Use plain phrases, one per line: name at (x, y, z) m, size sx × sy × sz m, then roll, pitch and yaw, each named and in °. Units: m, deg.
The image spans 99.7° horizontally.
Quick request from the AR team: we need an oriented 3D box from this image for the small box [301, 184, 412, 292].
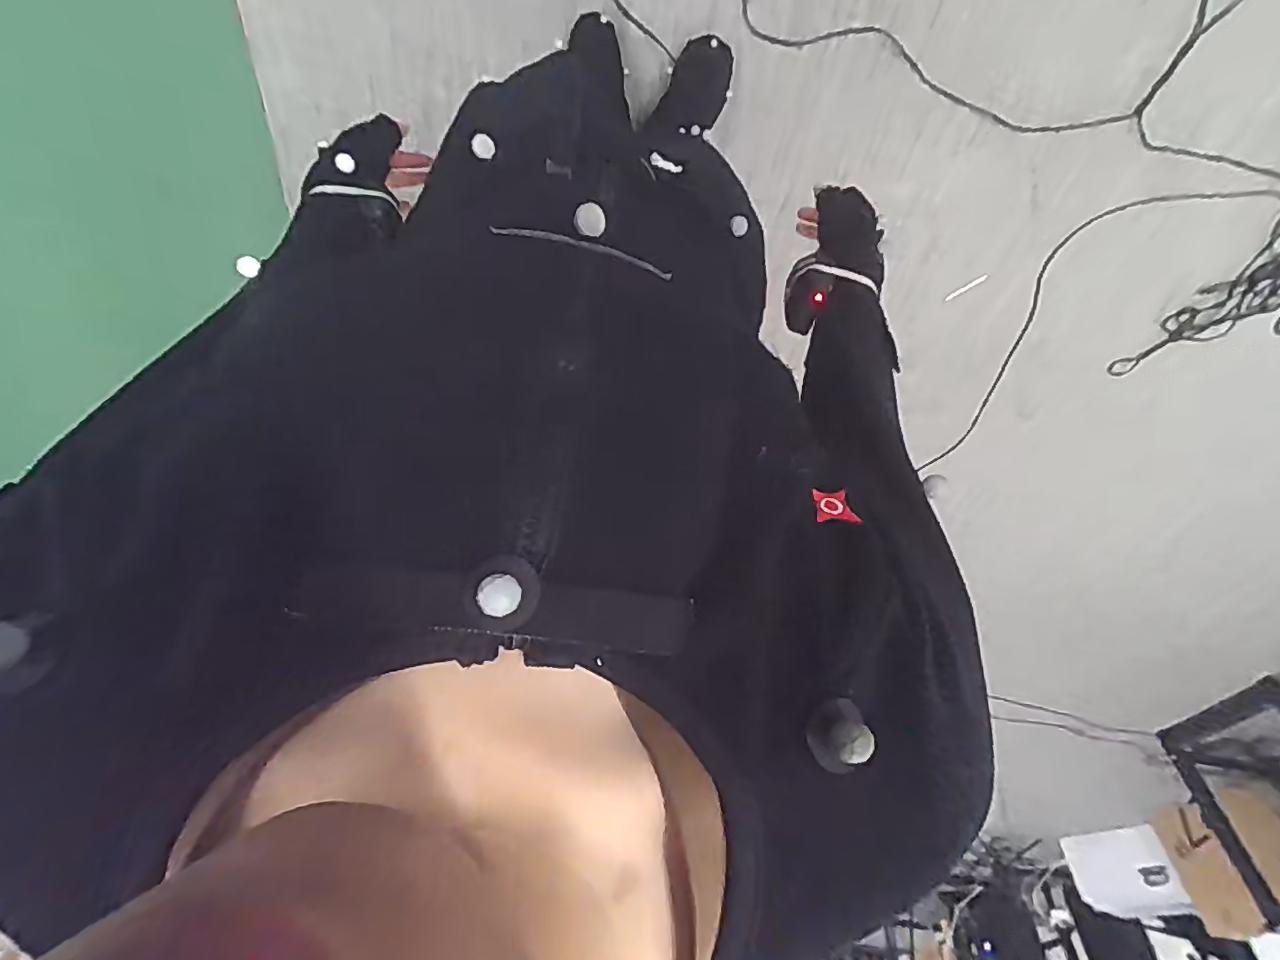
small box at (-0.660, -0.578, 1.282) m, size 0.168 × 0.176 × 0.179 m, roll 13°, pitch 132°, yaw -3°
